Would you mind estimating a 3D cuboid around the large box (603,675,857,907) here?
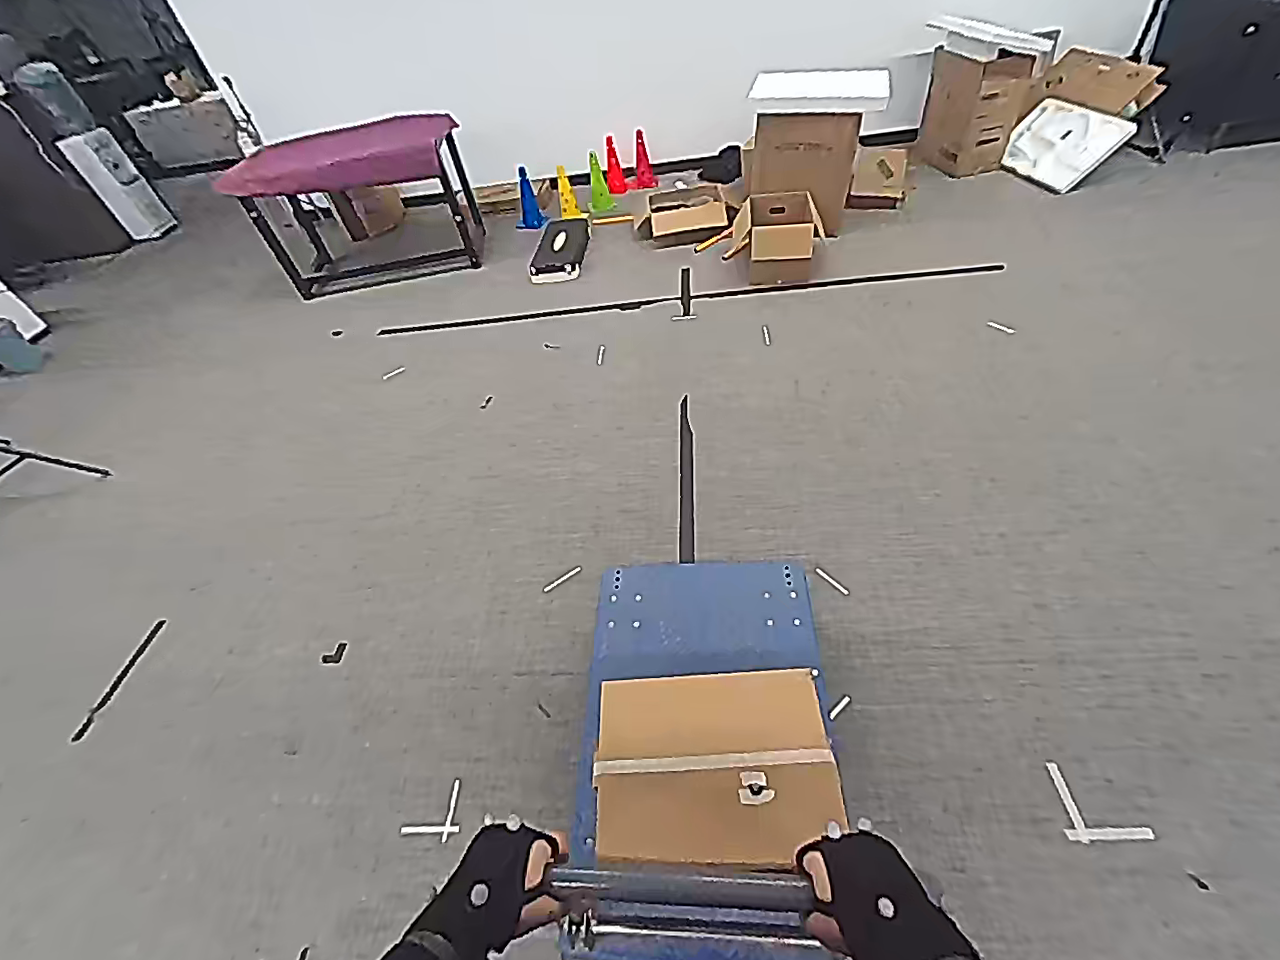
[{"bbox_3d":[0.147,0.604,1.045,0.408,0.320,0.320,-5,47,4],"label":"large box"}]
